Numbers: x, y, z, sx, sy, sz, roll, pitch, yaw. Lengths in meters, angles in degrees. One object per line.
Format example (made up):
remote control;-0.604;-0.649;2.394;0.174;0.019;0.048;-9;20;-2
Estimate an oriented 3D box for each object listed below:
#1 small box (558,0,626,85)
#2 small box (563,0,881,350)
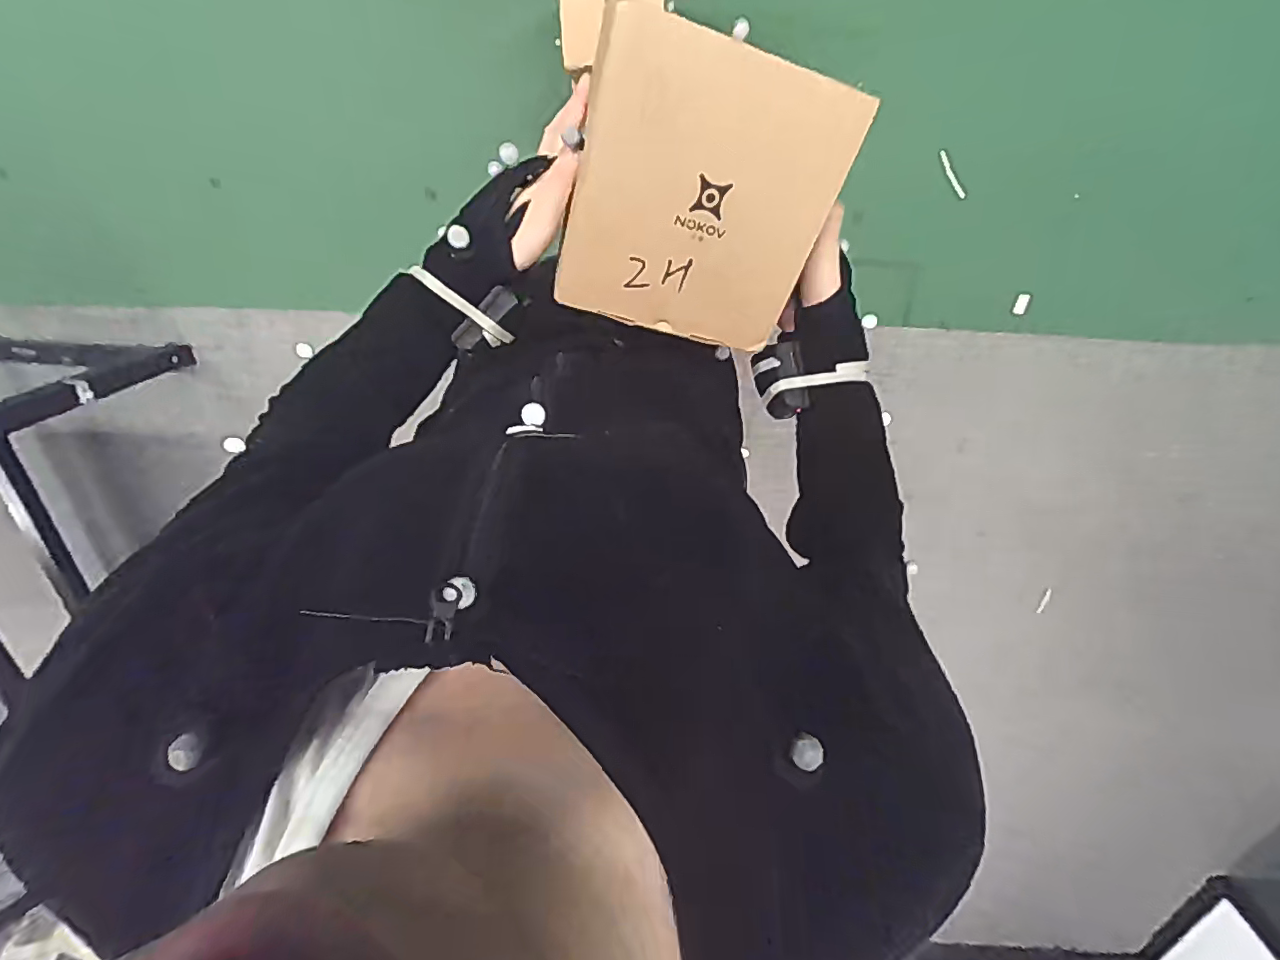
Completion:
small box;-0.046;-0.780;0.897;0.168;0.176;0.179;-2;119;1
small box;0.036;-0.230;0.413;0.168;0.176;0.179;9;127;-15
